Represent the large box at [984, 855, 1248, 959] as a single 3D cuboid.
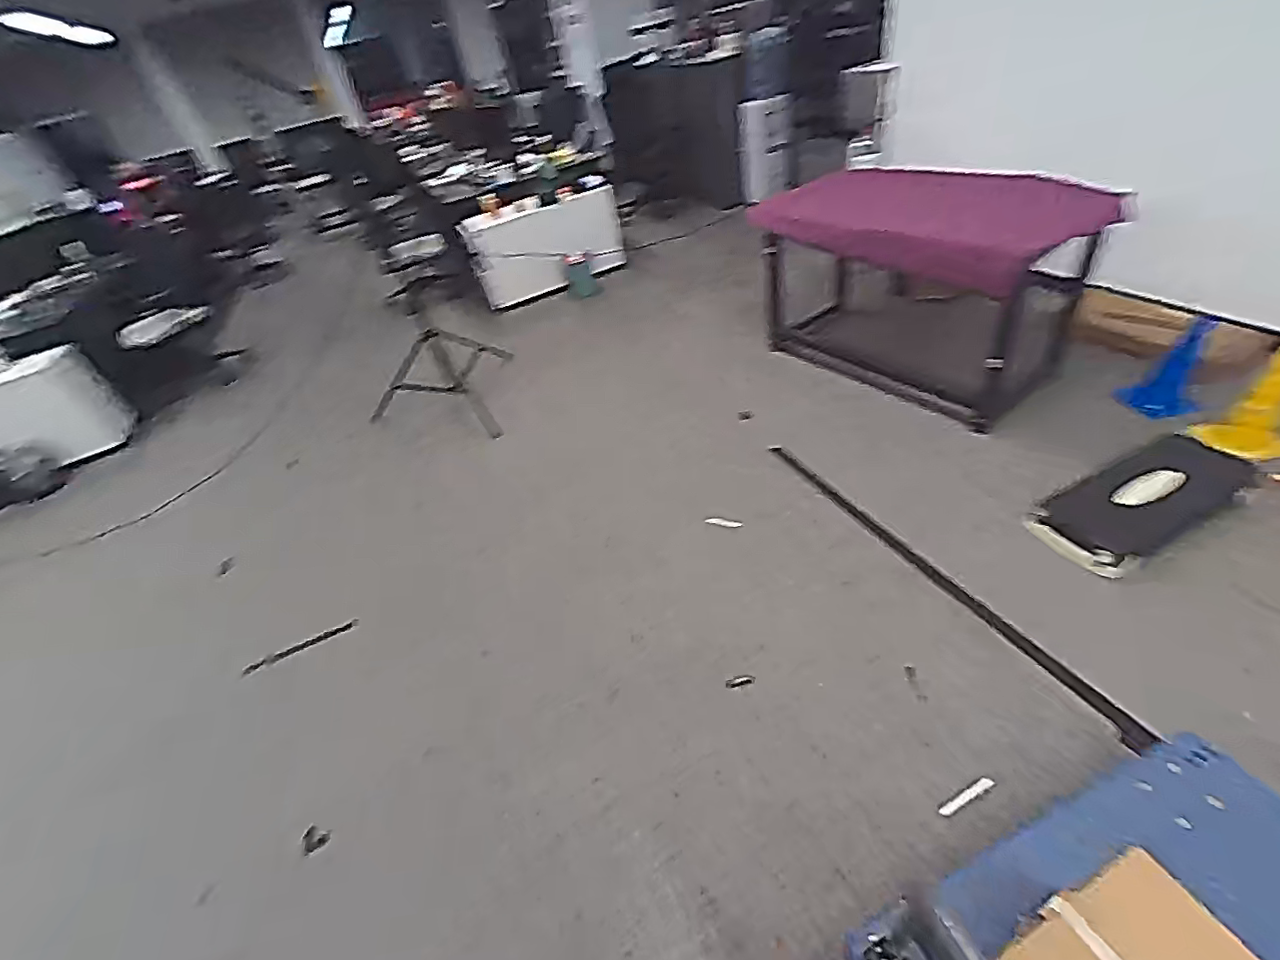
[{"bbox_3d":[0.695,0.821,0.712,0.320,0.320,0.408,-25,43,-12],"label":"large box"}]
